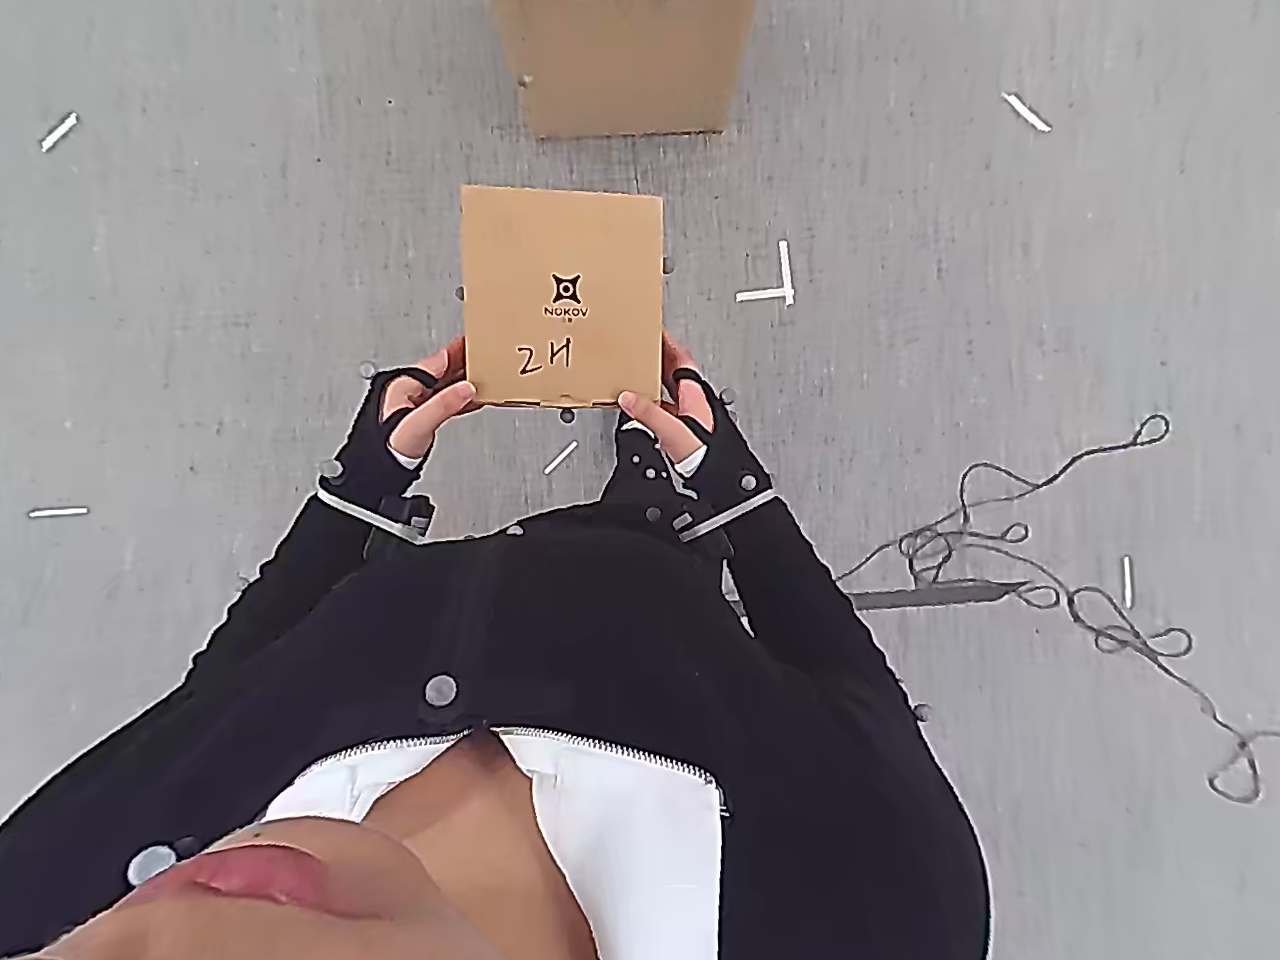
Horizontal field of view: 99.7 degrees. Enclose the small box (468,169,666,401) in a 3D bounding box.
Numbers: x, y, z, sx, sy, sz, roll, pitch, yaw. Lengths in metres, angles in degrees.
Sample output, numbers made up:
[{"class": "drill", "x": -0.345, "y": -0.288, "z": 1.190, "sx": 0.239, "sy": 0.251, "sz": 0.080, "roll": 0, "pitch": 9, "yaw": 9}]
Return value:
[{"class": "small box", "x": -0.070, "y": -0.173, "z": 0.532, "sx": 0.168, "sy": 0.176, "sz": 0.179, "roll": 0, "pitch": 96, "yaw": -6}]
